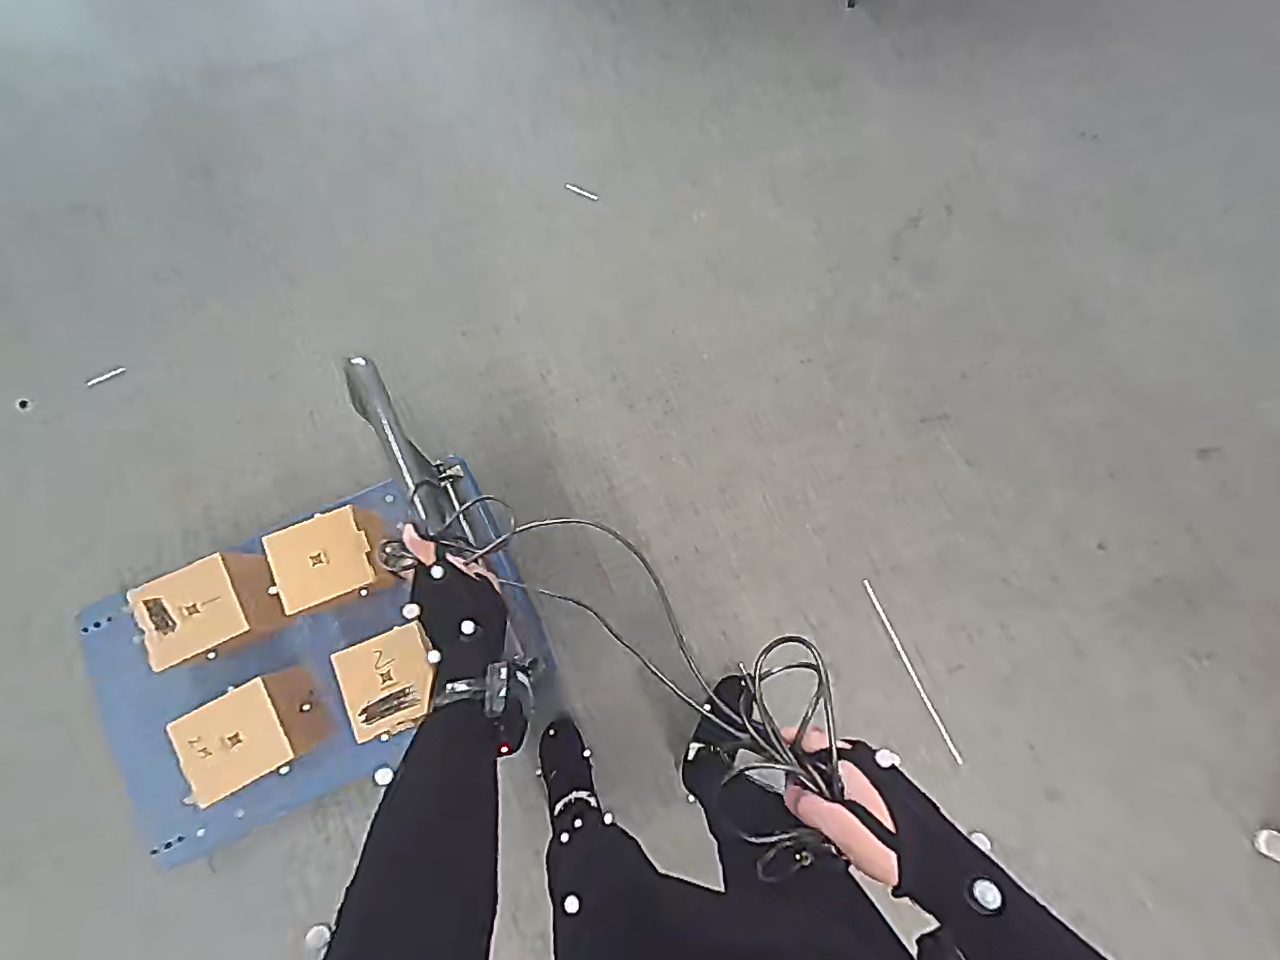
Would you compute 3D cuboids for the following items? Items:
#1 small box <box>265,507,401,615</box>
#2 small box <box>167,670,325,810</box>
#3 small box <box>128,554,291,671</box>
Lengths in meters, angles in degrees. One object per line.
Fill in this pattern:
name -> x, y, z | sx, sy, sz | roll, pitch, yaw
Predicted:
small box -> -0.636, 0.174, 1.139 | 0.179, 0.176, 0.168 | -22, 82, -10
small box -> -0.755, 0.495, 1.061 | 0.179, 0.176, 0.168 | -27, 82, -10
small box -> -0.860, 0.264, 1.097 | 0.179, 0.176, 0.168 | -25, 83, -11
